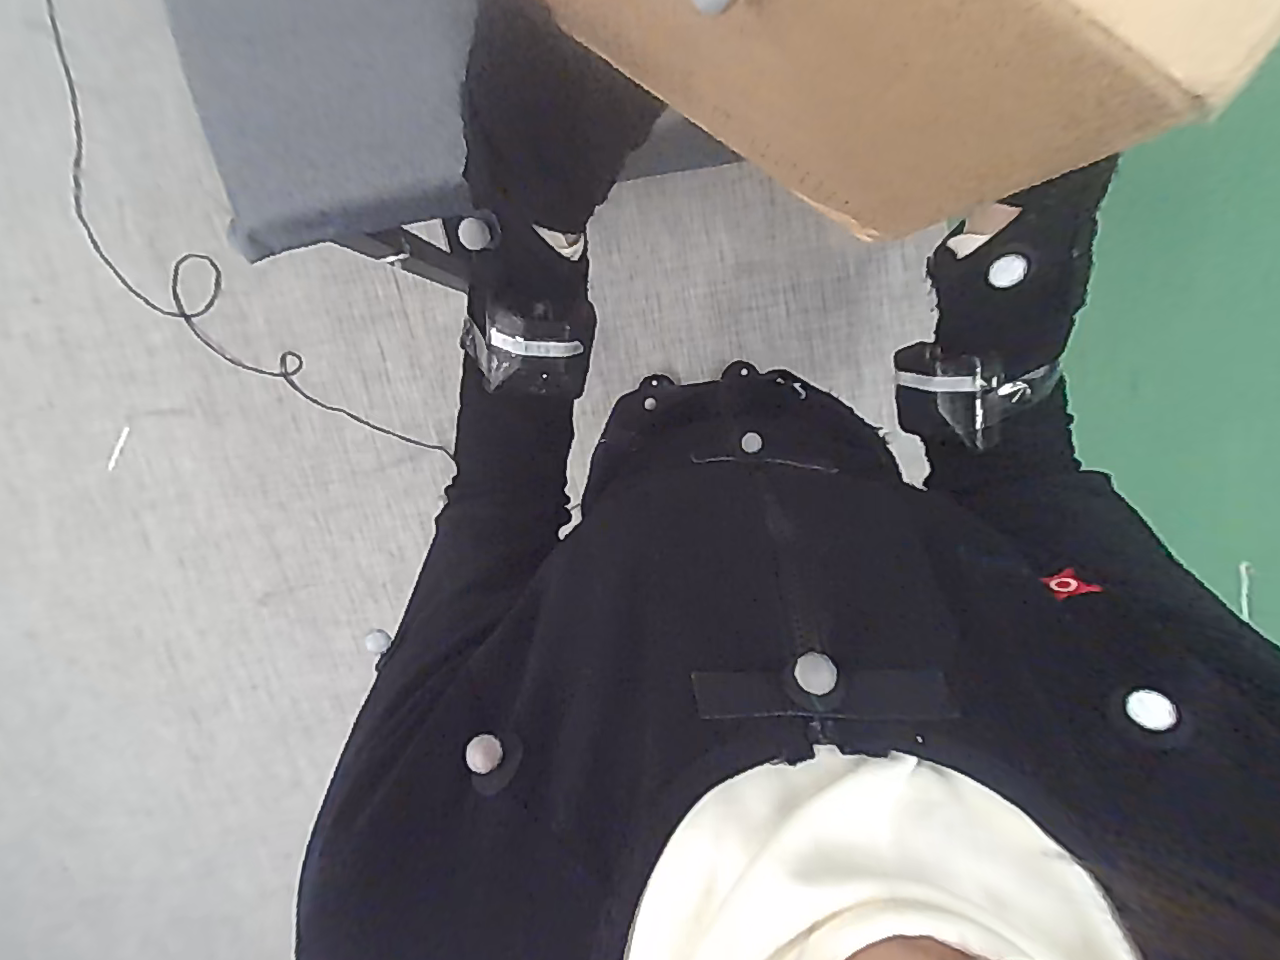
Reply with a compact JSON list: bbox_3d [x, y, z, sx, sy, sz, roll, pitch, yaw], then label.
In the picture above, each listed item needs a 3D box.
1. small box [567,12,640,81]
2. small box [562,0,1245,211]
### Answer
[{"bbox_3d":[0.007,-0.522,0.517,0.179,0.176,0.168,-8,99,4],"label":"small box"},{"bbox_3d":[0.071,-0.202,0.145,0.179,0.176,0.168,31,105,-6],"label":"small box"}]
